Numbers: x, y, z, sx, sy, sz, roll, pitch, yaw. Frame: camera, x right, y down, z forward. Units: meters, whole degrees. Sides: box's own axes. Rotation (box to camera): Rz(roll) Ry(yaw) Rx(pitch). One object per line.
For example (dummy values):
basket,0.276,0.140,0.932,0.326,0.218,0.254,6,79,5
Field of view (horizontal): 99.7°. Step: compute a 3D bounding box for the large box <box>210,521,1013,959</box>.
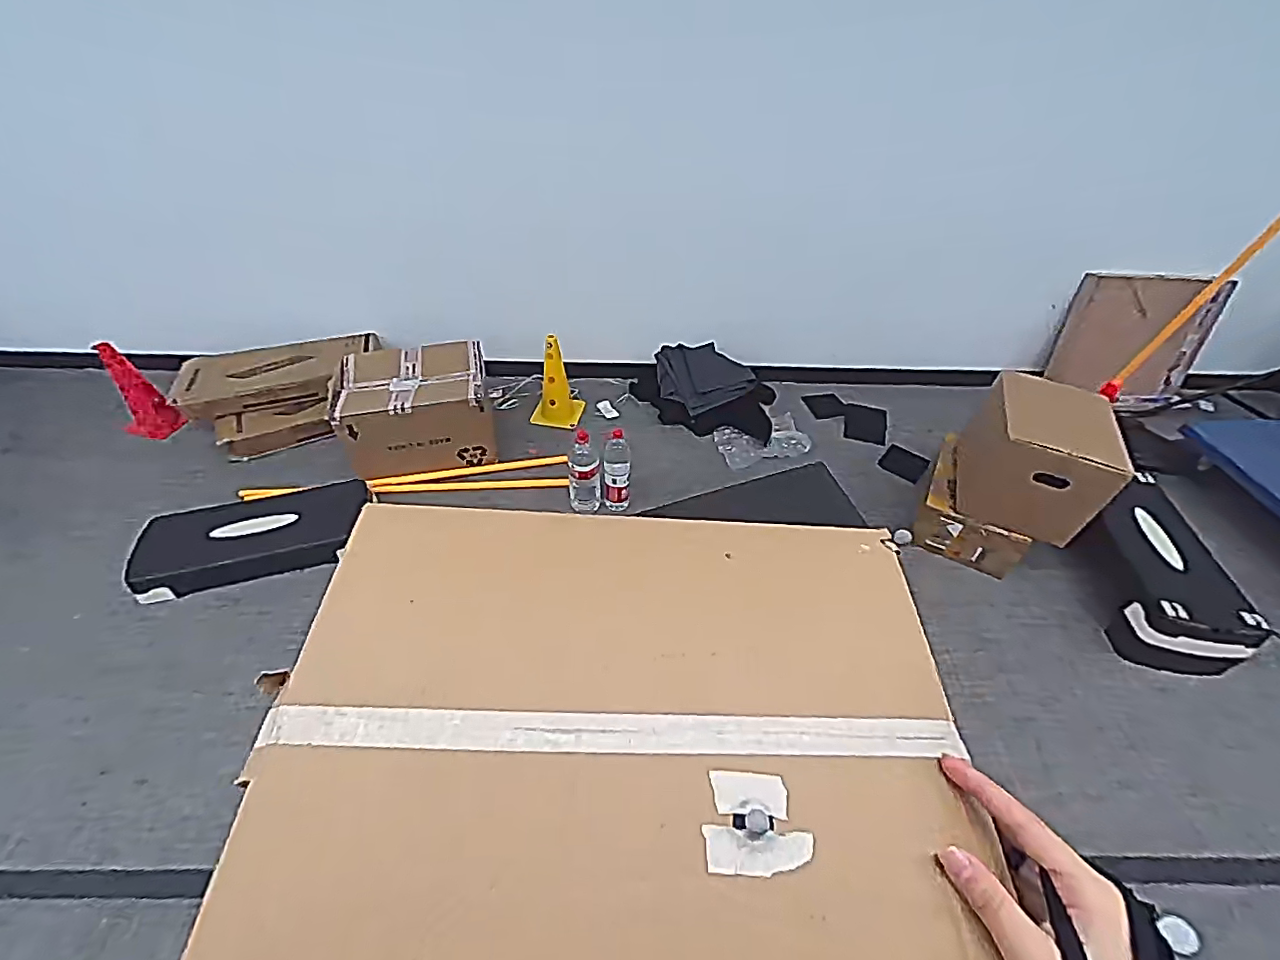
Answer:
large box,-0.019,0.253,0.444,0.408,0.320,0.320,4,51,-4
